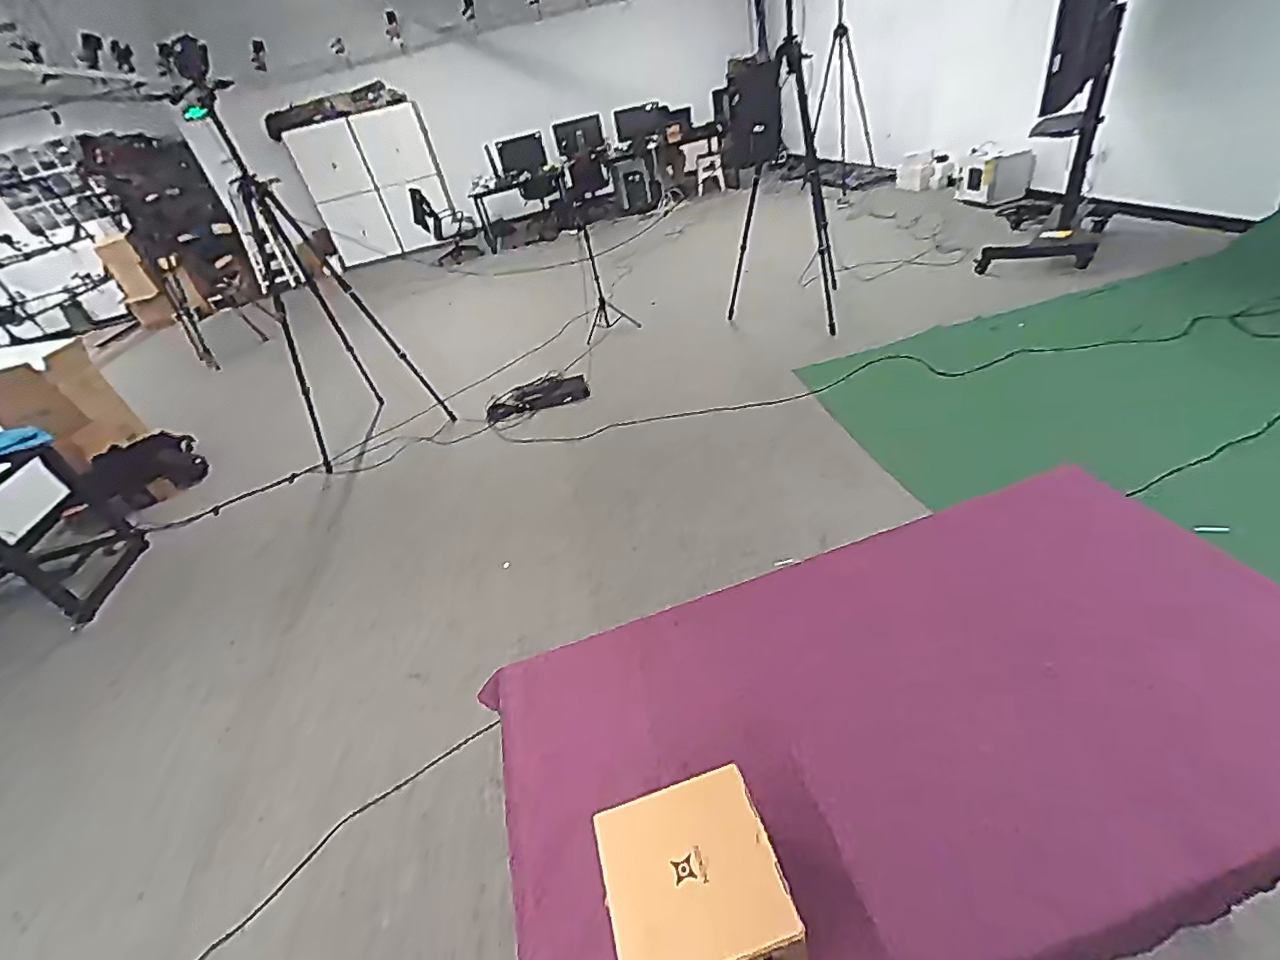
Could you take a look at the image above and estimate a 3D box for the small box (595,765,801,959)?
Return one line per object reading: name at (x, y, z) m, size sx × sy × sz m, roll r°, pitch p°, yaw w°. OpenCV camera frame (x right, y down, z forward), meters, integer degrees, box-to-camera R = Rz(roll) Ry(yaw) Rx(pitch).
small box at (0.065, 0.464, 0.602) m, size 0.179 × 0.176 × 0.168 m, roll -17°, pitch 36°, yaw -6°
